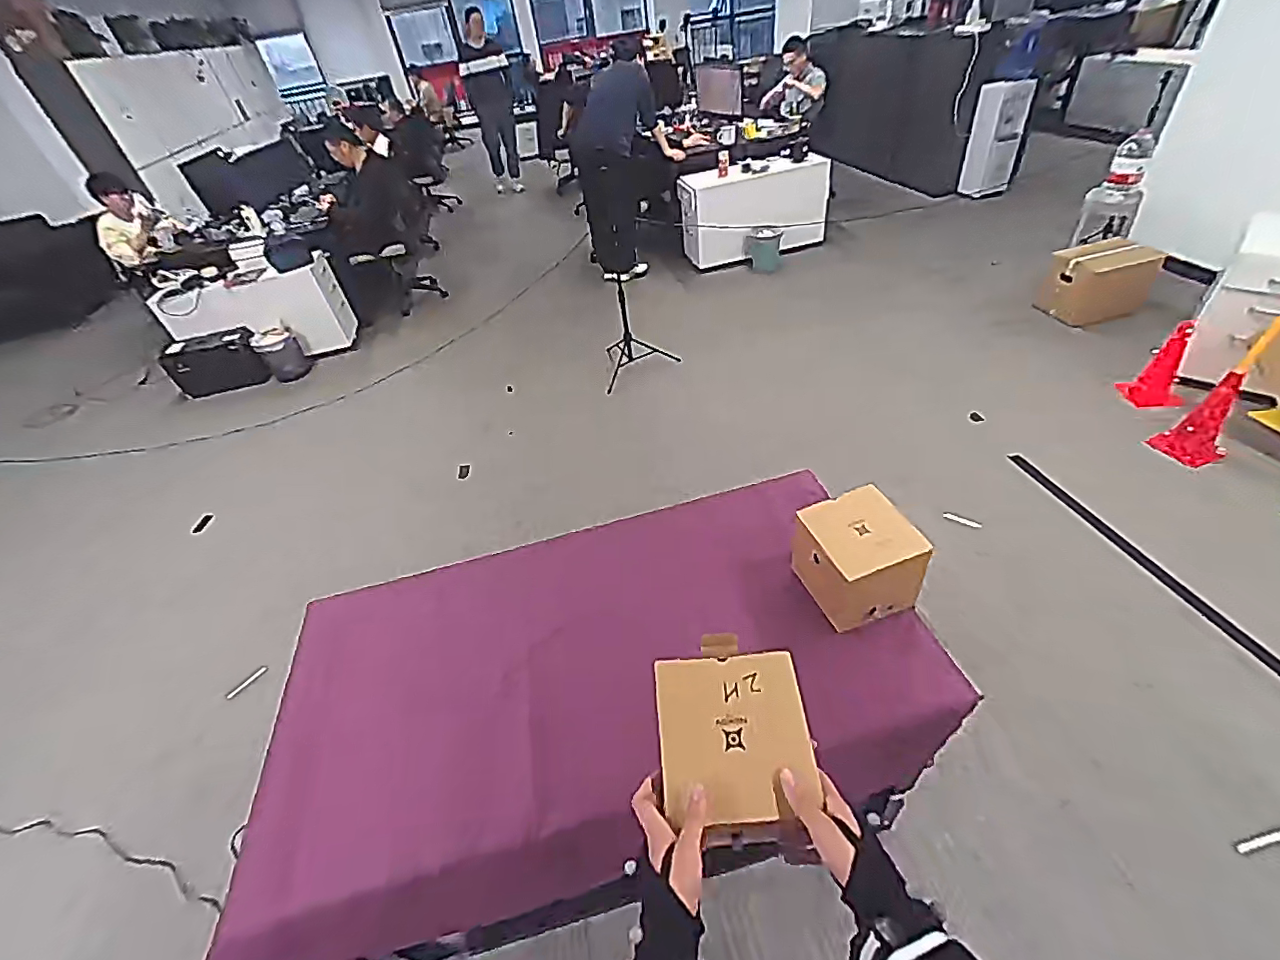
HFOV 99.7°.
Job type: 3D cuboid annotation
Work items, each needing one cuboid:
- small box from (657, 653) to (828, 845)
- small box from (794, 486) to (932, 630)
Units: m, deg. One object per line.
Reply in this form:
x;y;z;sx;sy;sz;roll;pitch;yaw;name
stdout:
0.111;0.331;0.655;0.168;0.176;0.179;-5;50;1;small box
0.401;0.146;1.010;0.168;0.176;0.179;-19;42;-7;small box
